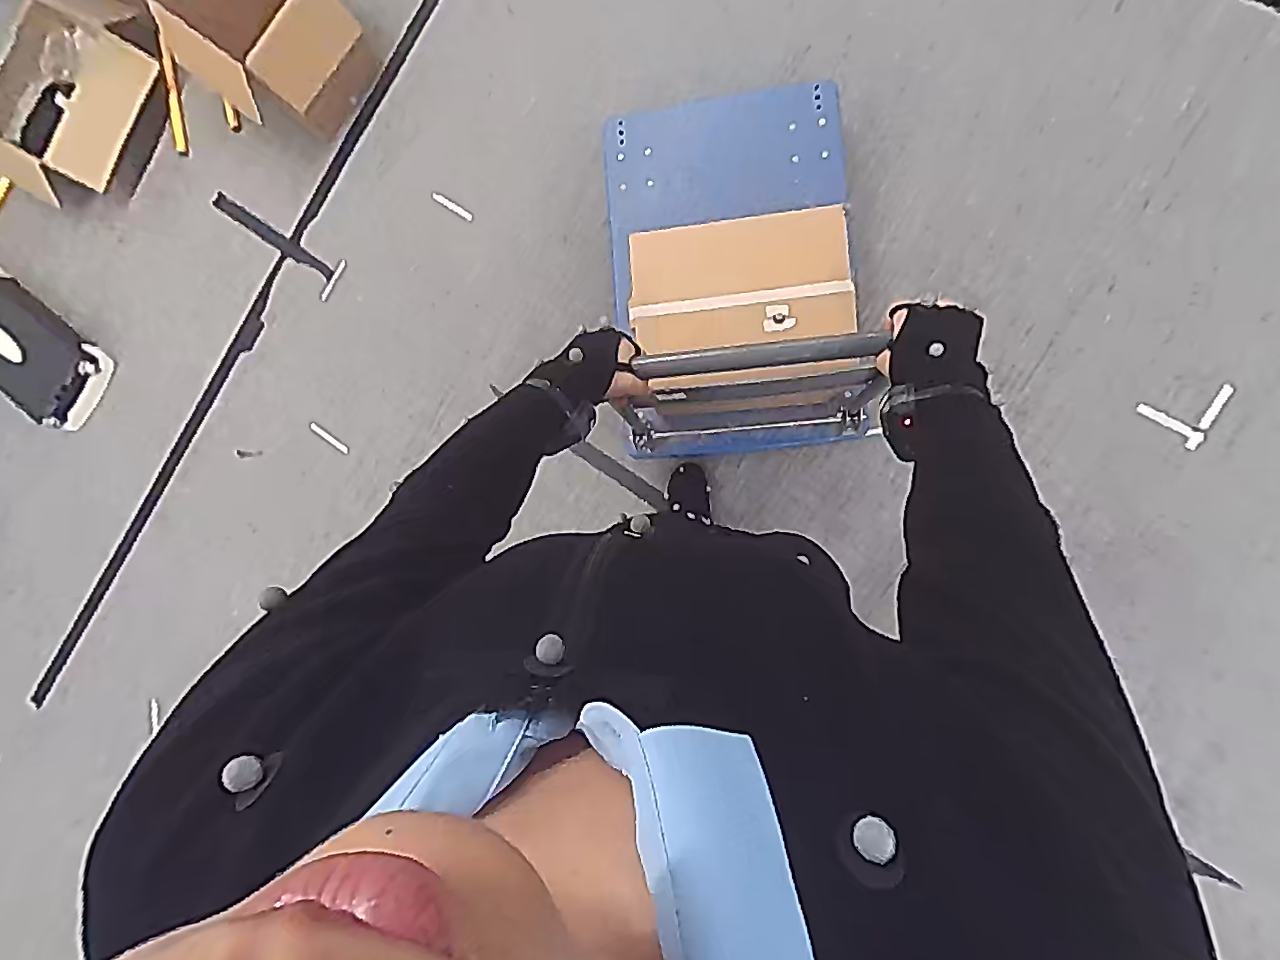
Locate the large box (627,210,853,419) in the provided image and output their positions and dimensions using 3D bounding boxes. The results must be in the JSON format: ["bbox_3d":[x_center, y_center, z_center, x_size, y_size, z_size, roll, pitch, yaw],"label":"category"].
[{"bbox_3d":[0.199,-0.325,1.162,0.408,0.320,0.320,-4,88,7],"label":"large box"}]
